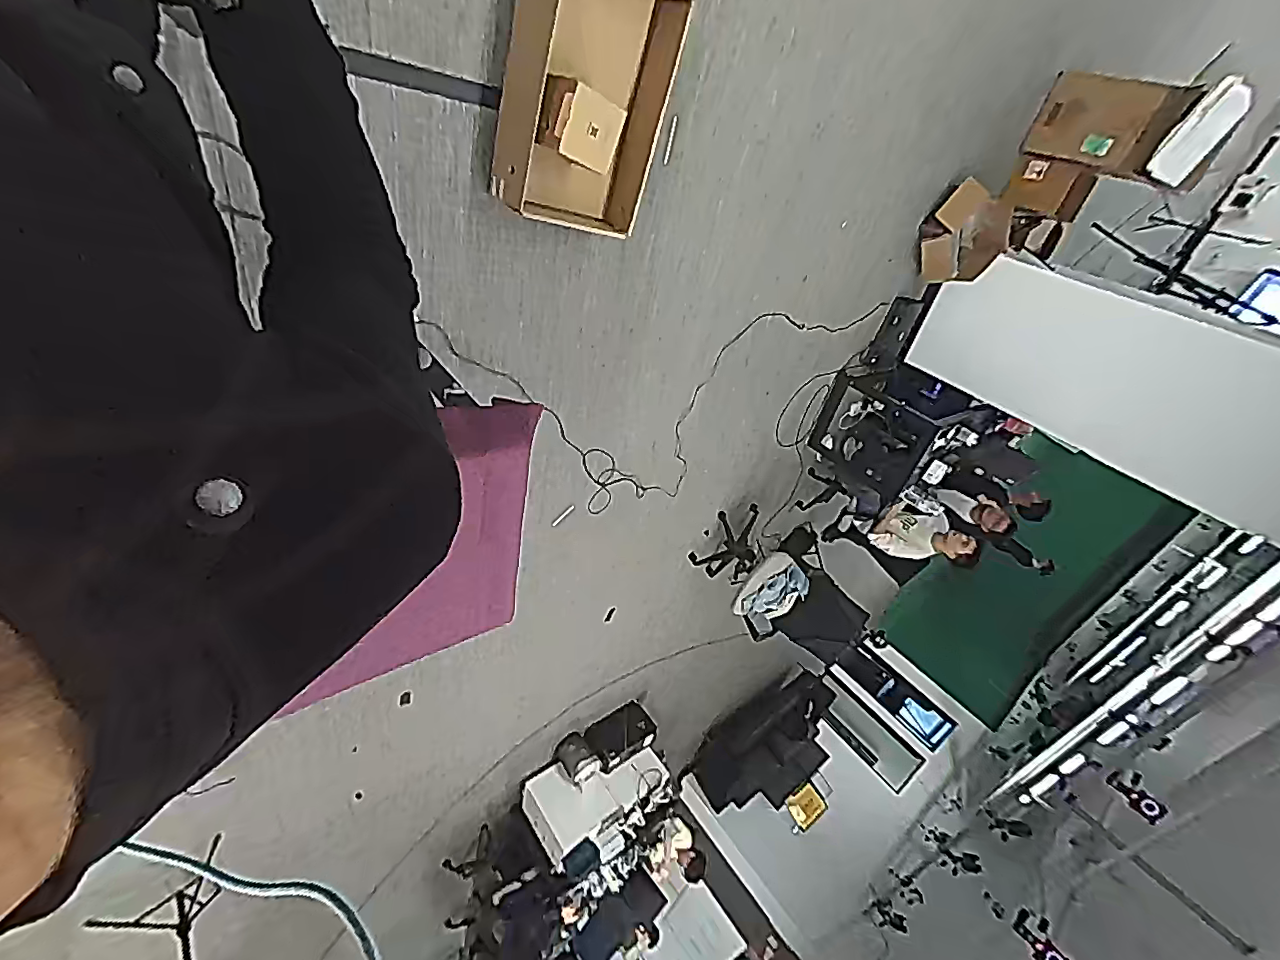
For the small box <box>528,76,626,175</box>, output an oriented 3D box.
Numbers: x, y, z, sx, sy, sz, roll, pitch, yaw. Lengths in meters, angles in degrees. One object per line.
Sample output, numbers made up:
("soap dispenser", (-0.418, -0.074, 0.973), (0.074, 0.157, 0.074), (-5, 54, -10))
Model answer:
("small box", (-0.175, -0.960, 1.462), (0.179, 0.176, 0.168), (-2, 125, -46))
